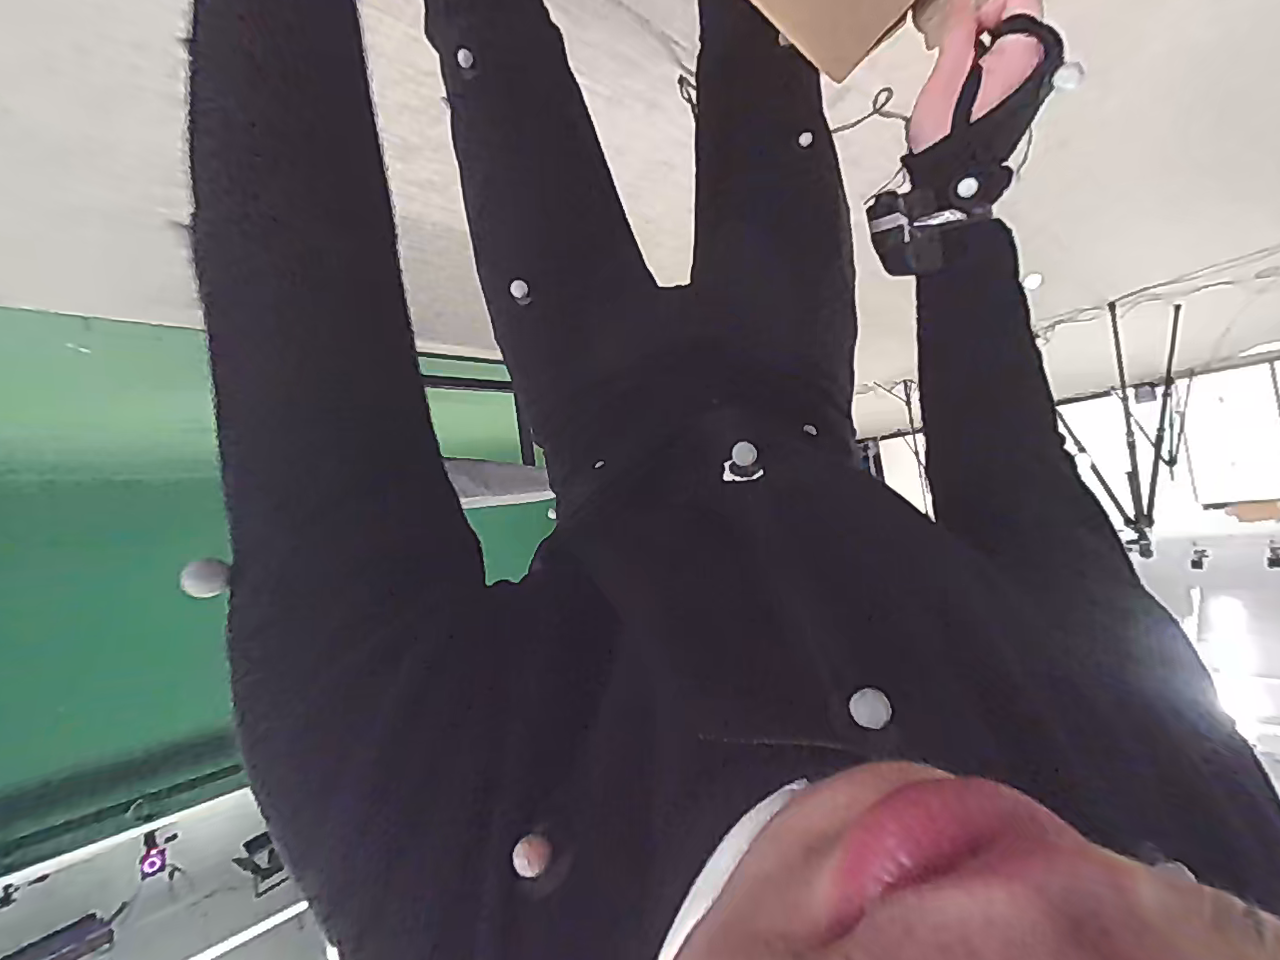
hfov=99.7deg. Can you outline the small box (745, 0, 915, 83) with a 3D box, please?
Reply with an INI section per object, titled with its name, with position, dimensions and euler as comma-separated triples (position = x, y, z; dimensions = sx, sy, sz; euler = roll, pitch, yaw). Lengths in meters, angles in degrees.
[small box]
position = 0.153, -0.434, 0.356
dimensions = 0.179, 0.176, 0.168
euler = 33, 162, -14
